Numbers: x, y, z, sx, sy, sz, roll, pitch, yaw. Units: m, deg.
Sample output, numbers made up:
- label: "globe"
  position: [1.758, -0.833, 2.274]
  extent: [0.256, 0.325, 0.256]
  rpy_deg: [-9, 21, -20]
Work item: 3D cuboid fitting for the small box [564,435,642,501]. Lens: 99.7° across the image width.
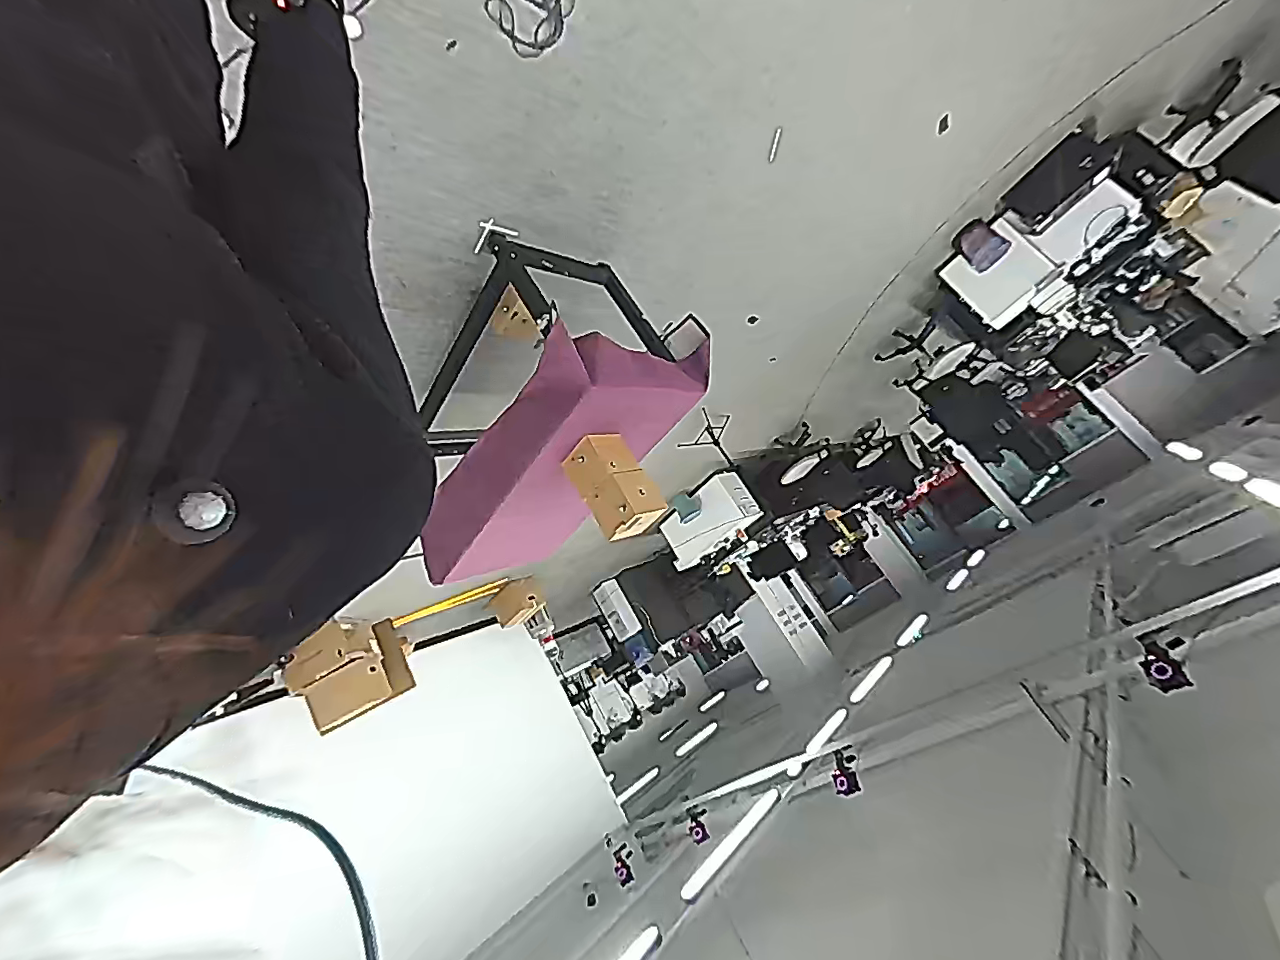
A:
- label: "small box"
  position: [-0.133, -0.047, 1.900]
  extent: [0.179, 0.176, 0.168]
  rpy_deg: [-8, 150, -49]
